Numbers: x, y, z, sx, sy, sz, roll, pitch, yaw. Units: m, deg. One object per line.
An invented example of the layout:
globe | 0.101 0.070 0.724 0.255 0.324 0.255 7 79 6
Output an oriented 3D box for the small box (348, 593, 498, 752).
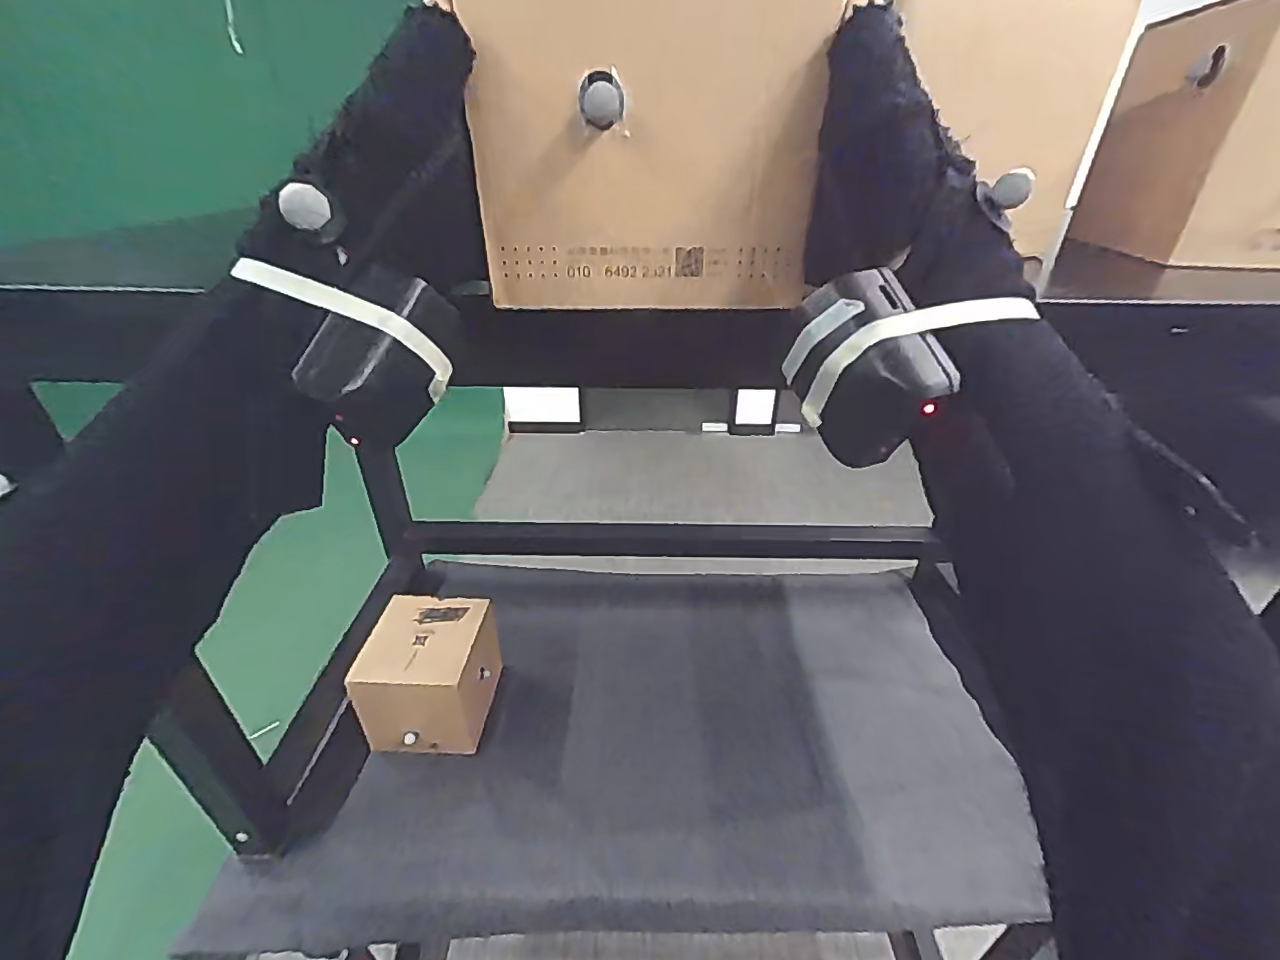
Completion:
small box | -0.336 0.308 0.879 0.168 0.176 0.179 1 32 1

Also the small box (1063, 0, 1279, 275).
small box | 0.489 -0.263 0.427 0.168 0.176 0.179 7 32 10

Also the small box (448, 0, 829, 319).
small box | 0.000 -0.199 0.321 0.168 0.176 0.179 -1 32 -3
